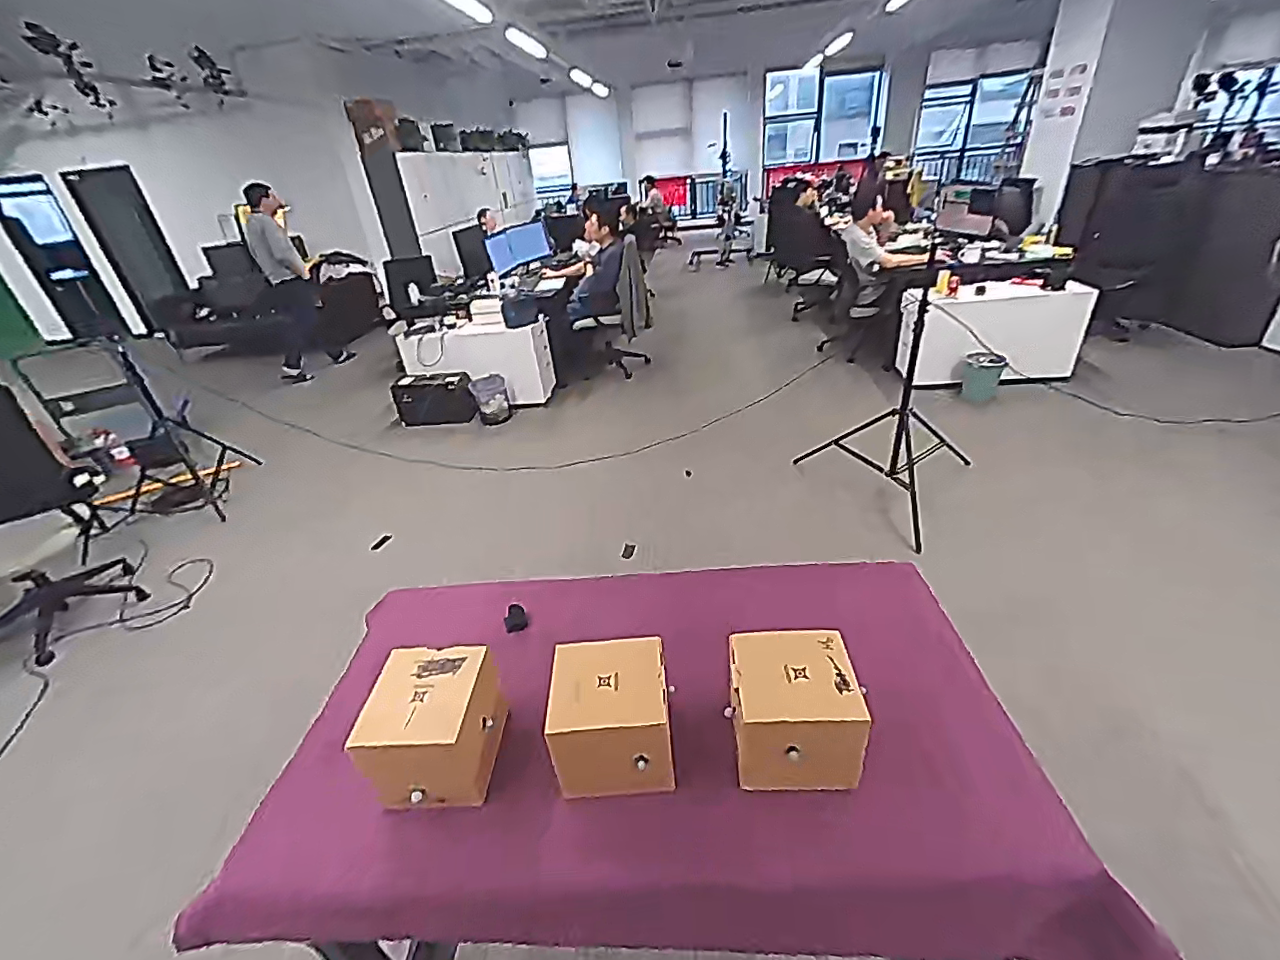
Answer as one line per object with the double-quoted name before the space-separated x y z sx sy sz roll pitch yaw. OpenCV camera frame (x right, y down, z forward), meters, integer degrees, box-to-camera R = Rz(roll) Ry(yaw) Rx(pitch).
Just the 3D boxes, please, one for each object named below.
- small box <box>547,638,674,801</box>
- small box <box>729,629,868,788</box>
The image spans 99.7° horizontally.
"small box" -0.040 0.380 0.863 0.179 0.176 0.168 -7 29 1
"small box" 0.238 0.358 0.847 0.179 0.176 0.168 -4 30 5
